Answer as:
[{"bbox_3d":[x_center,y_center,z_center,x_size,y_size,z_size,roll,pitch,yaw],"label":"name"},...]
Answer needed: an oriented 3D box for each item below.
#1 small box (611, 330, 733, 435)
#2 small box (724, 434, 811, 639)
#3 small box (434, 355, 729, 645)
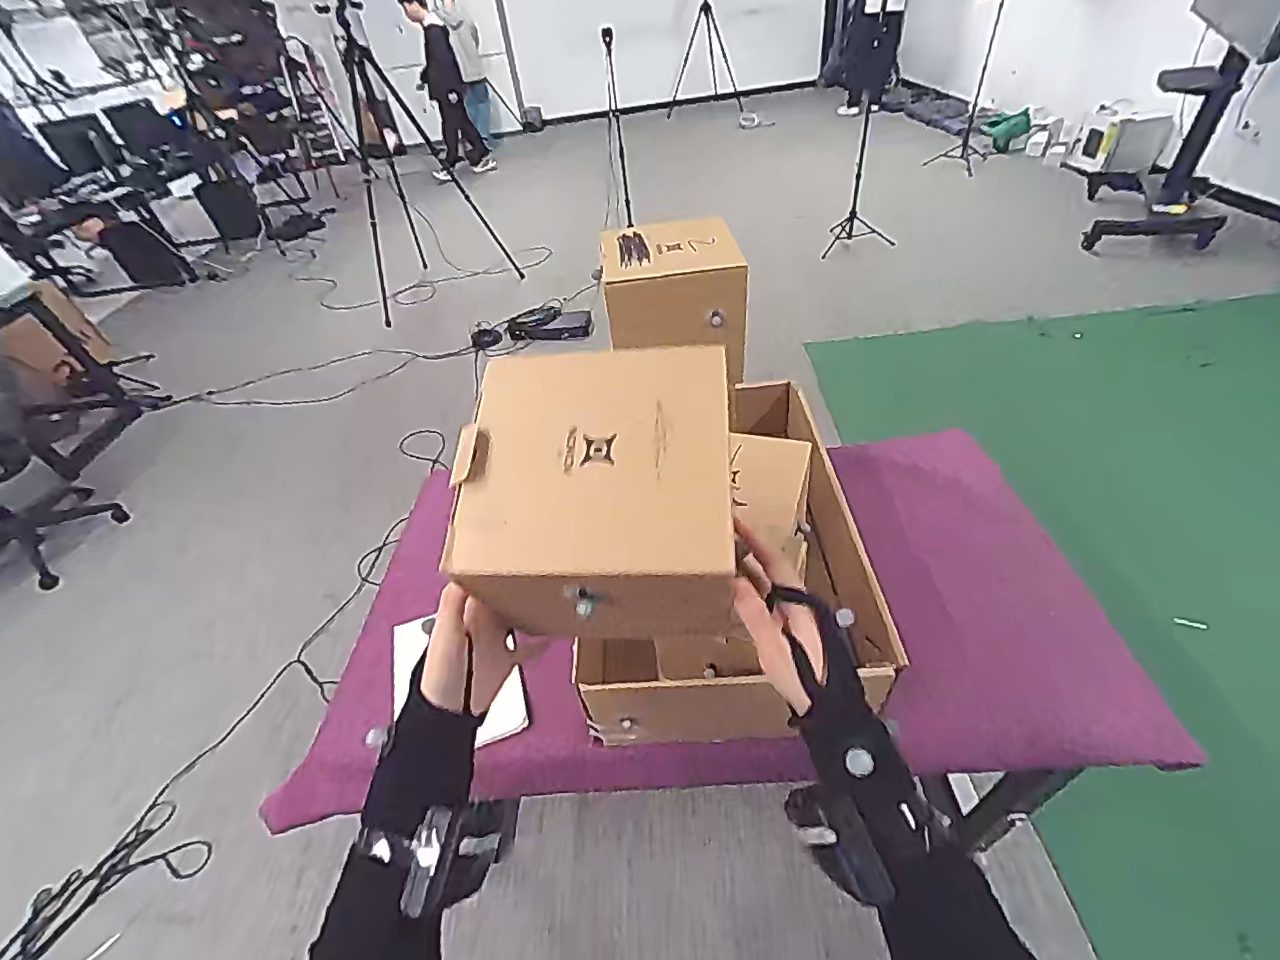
[{"bbox_3d":[0.052,-0.116,0.863,0.179,0.176,0.168,-6,44,3],"label":"small box"},{"bbox_3d":[0.106,0.063,0.651,0.168,0.176,0.179,9,44,21],"label":"small box"},{"bbox_3d":[-0.023,0.026,0.416,0.179,0.176,0.168,-2,61,8],"label":"small box"}]
